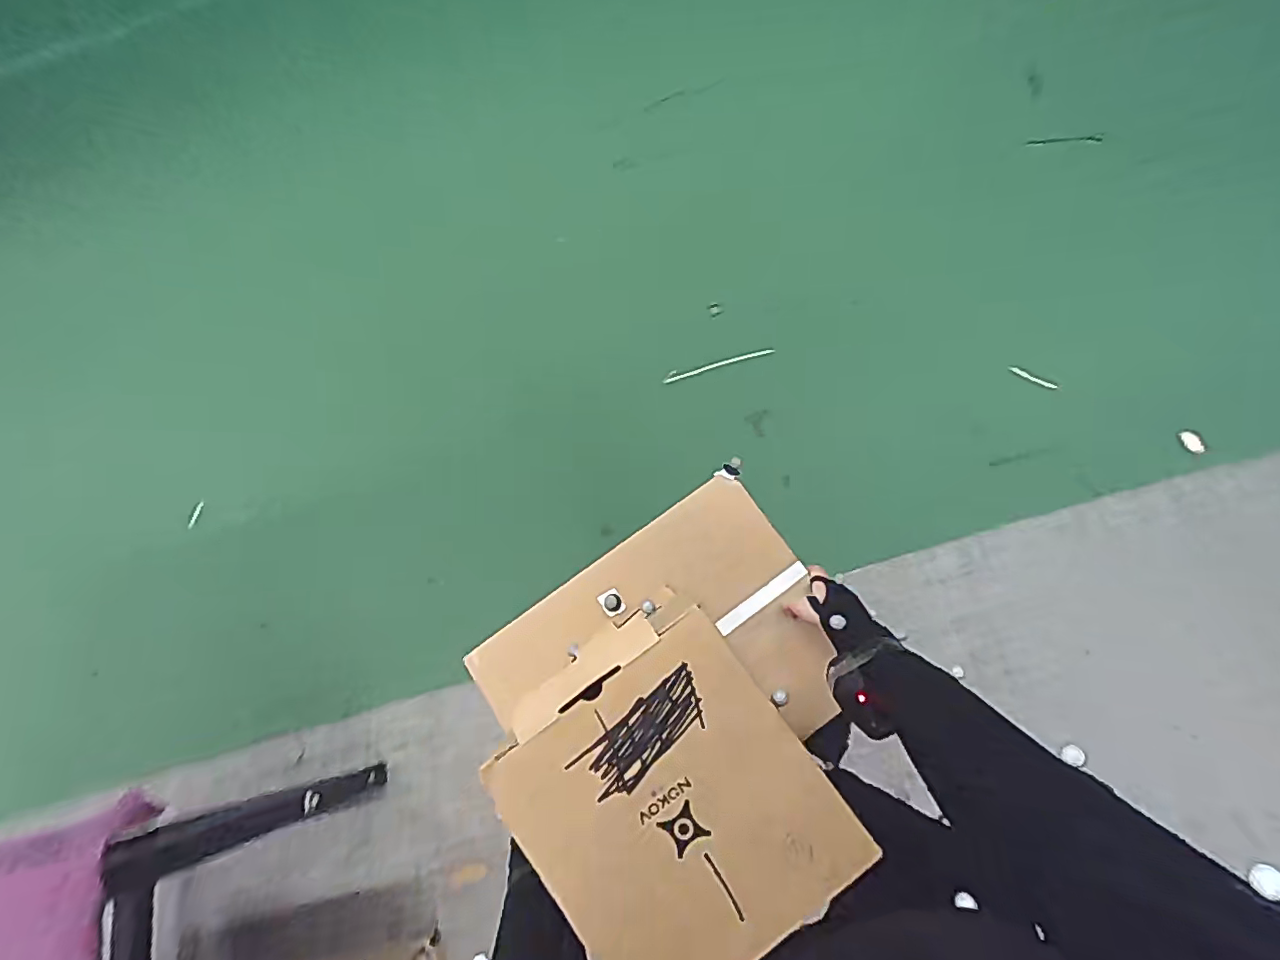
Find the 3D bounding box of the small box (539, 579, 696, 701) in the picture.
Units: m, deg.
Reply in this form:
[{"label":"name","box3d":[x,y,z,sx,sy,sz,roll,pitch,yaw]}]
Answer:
[{"label":"small box","box3d":[0.028,0.219,0.545,0.168,0.176,0.179,-40,82,-5]}]

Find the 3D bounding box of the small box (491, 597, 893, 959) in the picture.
[{"label":"small box","box3d":[0.027,0.199,0.382,0.168,0.176,0.179,-35,83,-4]}]
